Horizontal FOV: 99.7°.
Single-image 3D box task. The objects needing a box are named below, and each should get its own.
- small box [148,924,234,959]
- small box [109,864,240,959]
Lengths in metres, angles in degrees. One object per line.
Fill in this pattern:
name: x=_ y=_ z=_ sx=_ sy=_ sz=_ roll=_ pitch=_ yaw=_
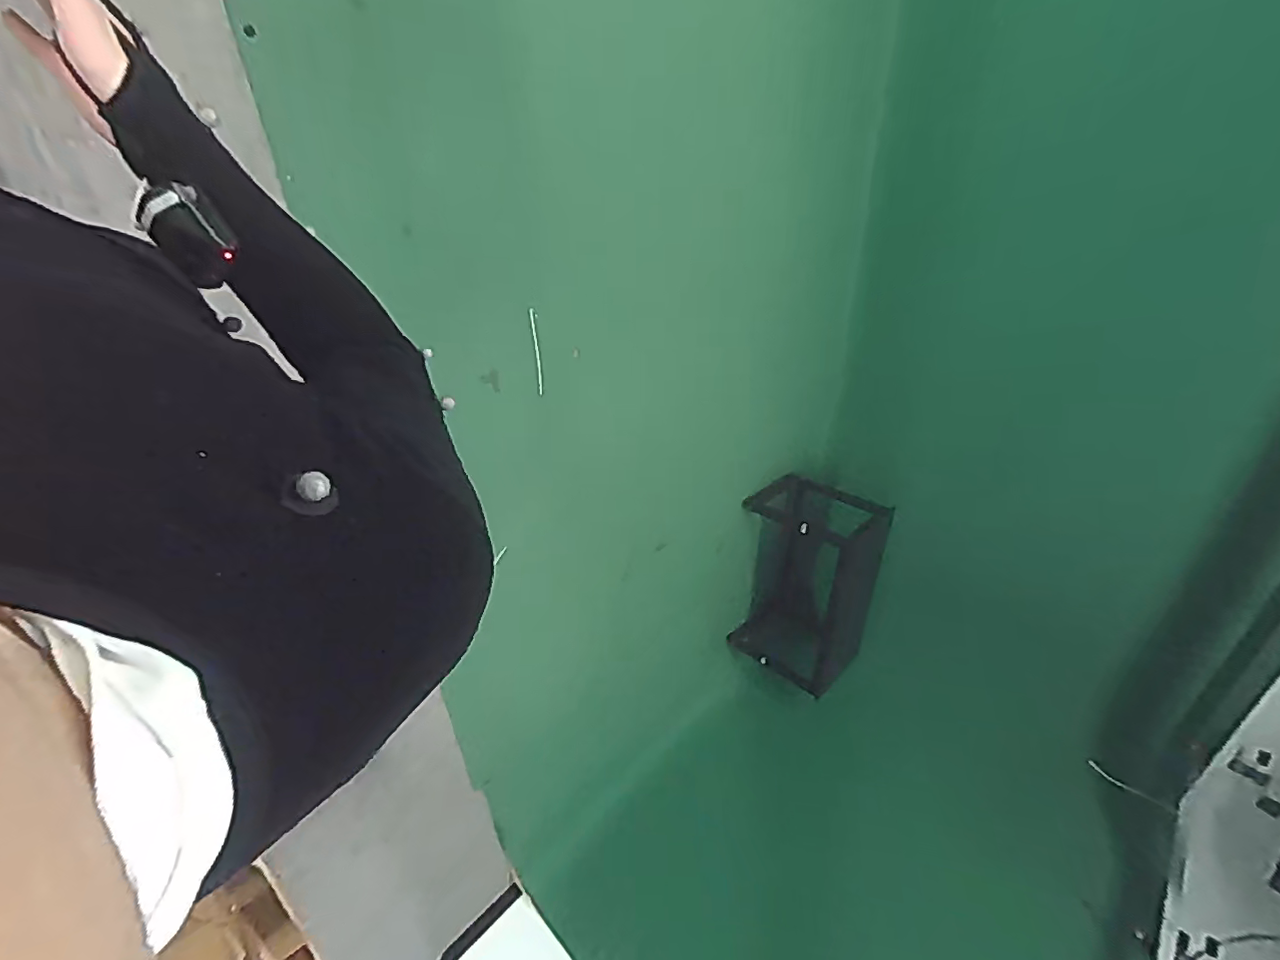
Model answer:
small box: x=-0.915 y=1.051 z=1.082 sx=0.168 sy=0.176 sz=0.179 roll=-21 pitch=125 yaw=-40
small box: x=-1.025 y=1.002 z=1.192 sx=0.168 sy=0.176 sz=0.179 roll=-24 pitch=127 yaw=-40
